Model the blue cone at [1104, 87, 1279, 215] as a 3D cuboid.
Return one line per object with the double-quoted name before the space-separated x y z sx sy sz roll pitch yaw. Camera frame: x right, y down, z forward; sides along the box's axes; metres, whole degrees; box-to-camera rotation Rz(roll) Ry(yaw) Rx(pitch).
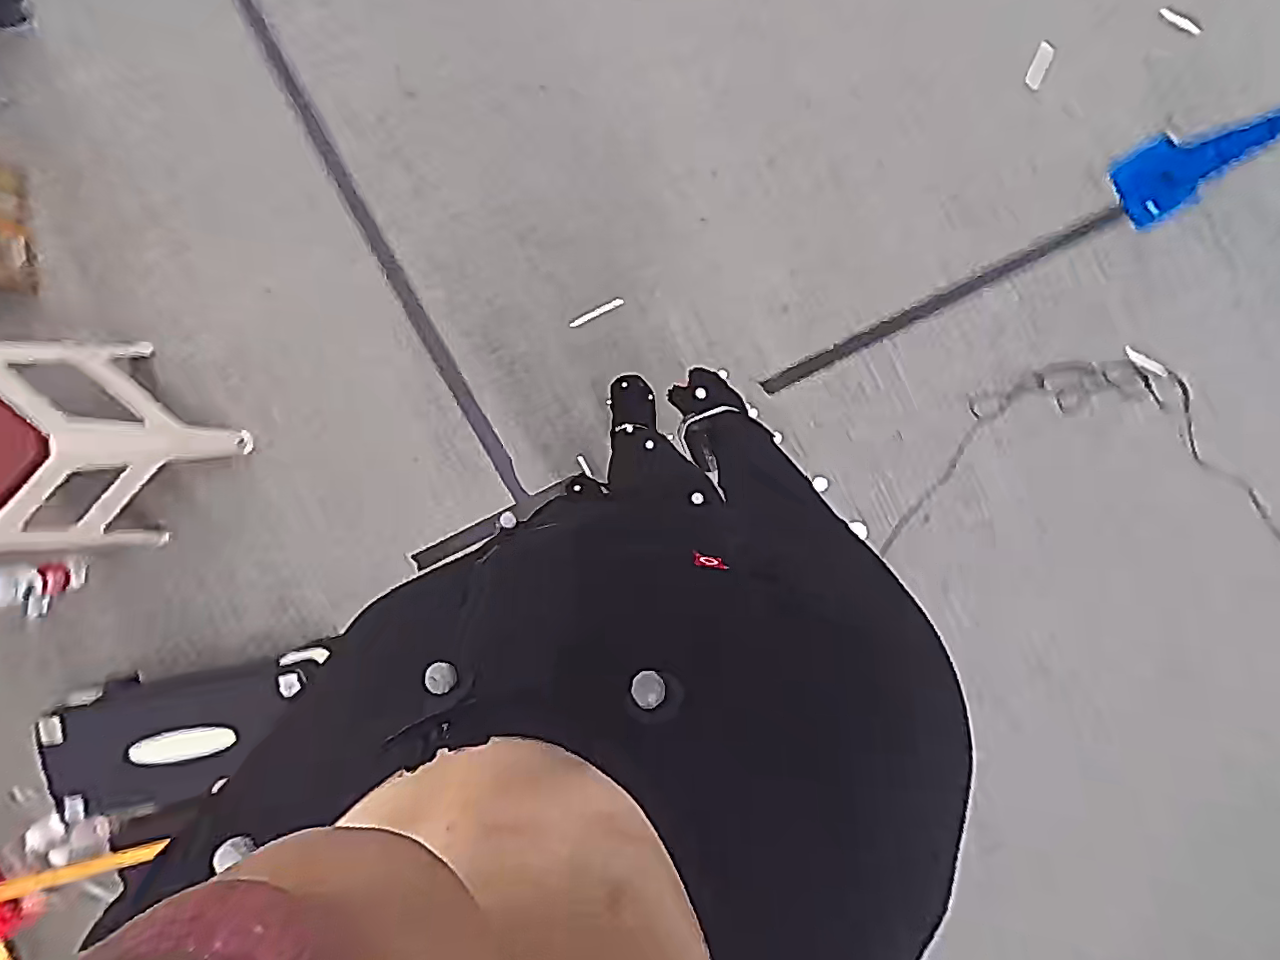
"blue cone" 1.390 -0.829 1.314 0.193 0.380 0.192 -31 94 -1
